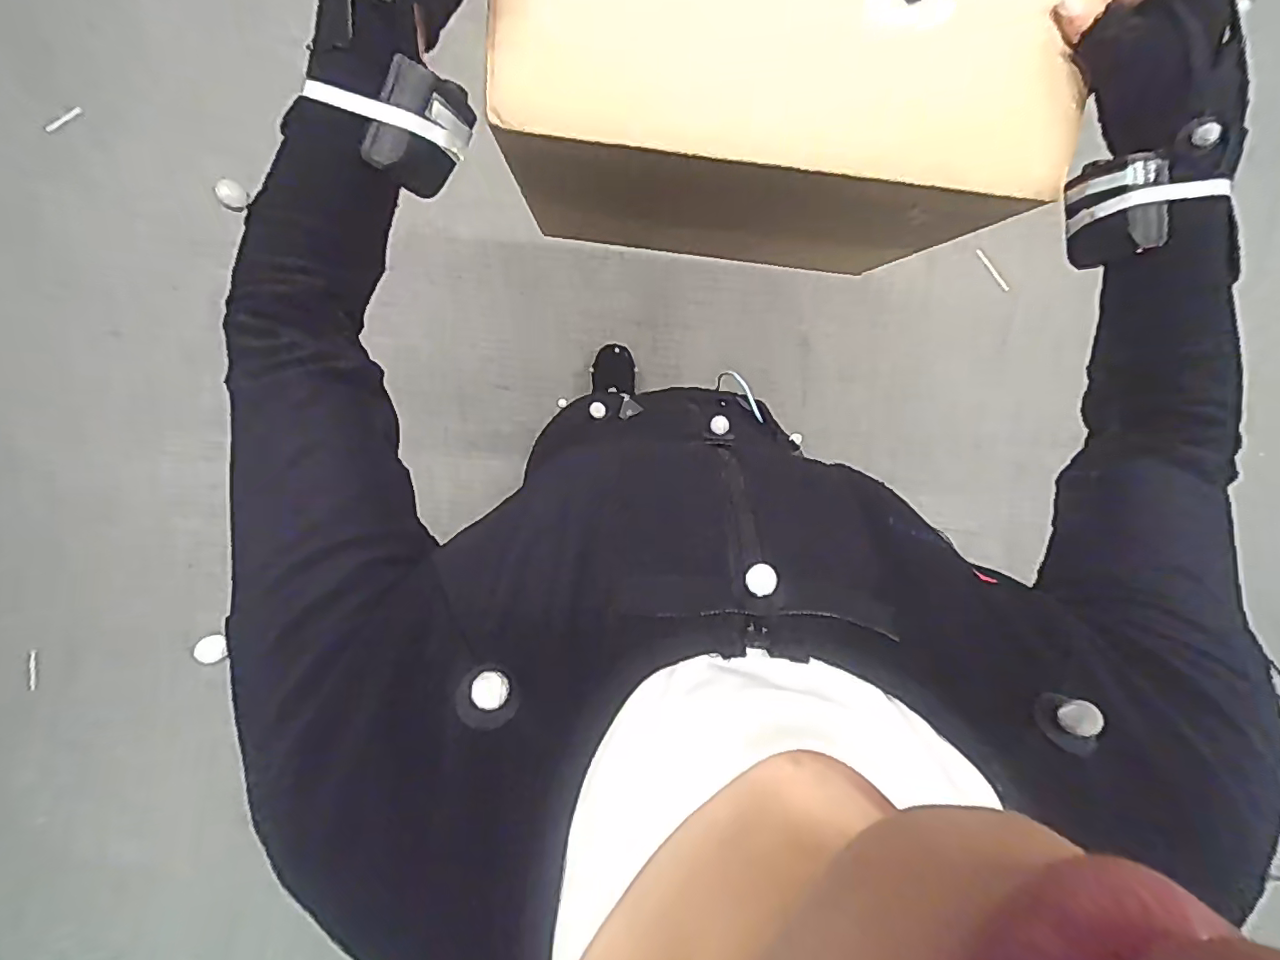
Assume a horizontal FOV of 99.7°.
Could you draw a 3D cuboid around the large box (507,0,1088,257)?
[{"bbox_3d":[0.105,-0.412,0.497,0.408,0.320,0.320,4,102,-5],"label":"large box"}]
